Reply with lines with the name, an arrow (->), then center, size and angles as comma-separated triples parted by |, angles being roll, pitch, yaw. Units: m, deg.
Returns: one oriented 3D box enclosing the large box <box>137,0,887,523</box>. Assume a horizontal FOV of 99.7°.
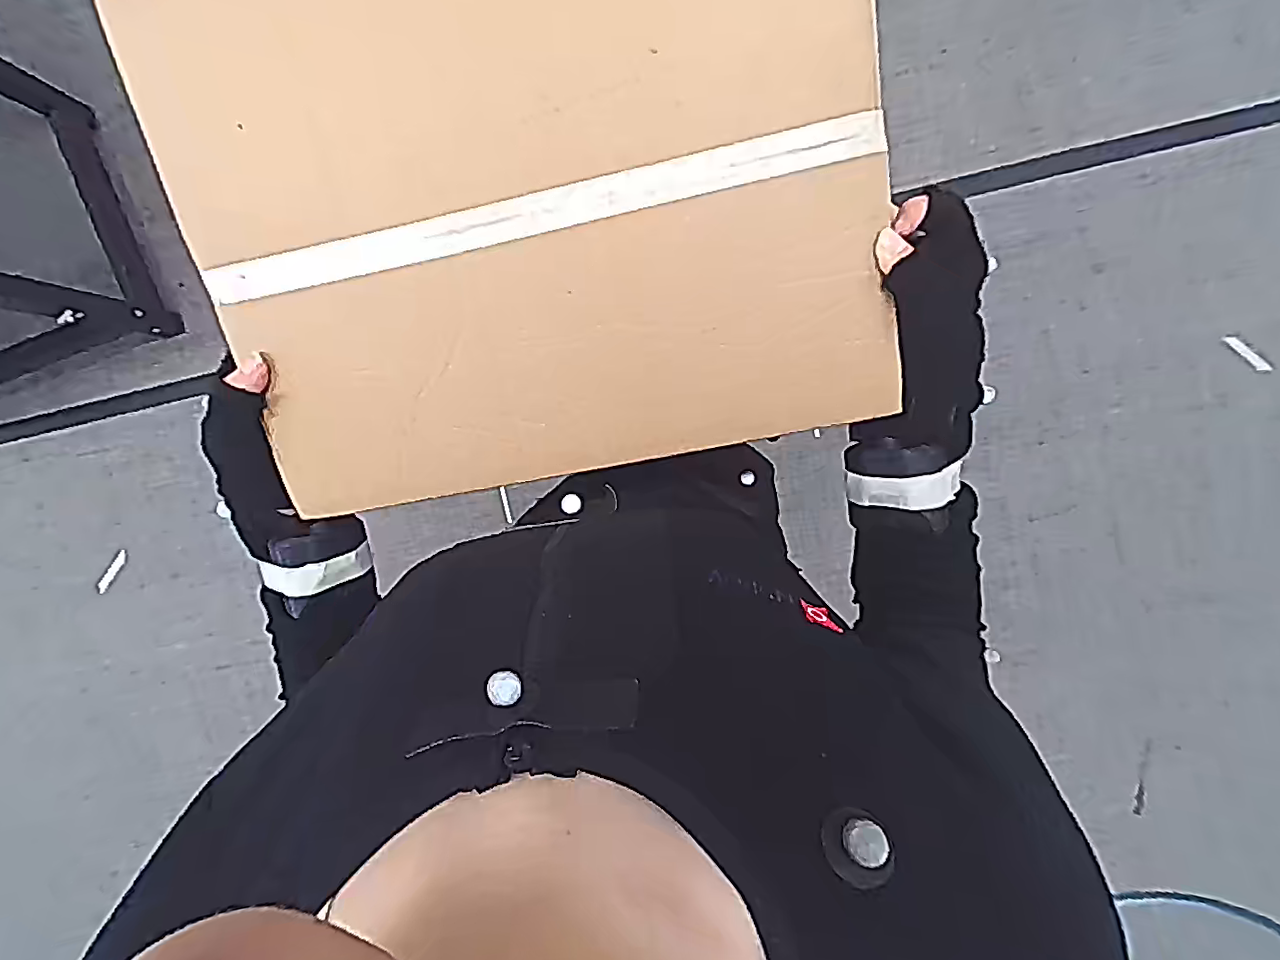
large box -> -0.056, -0.192, 0.469 | 0.408, 0.320, 0.320 | -10, 105, 6
